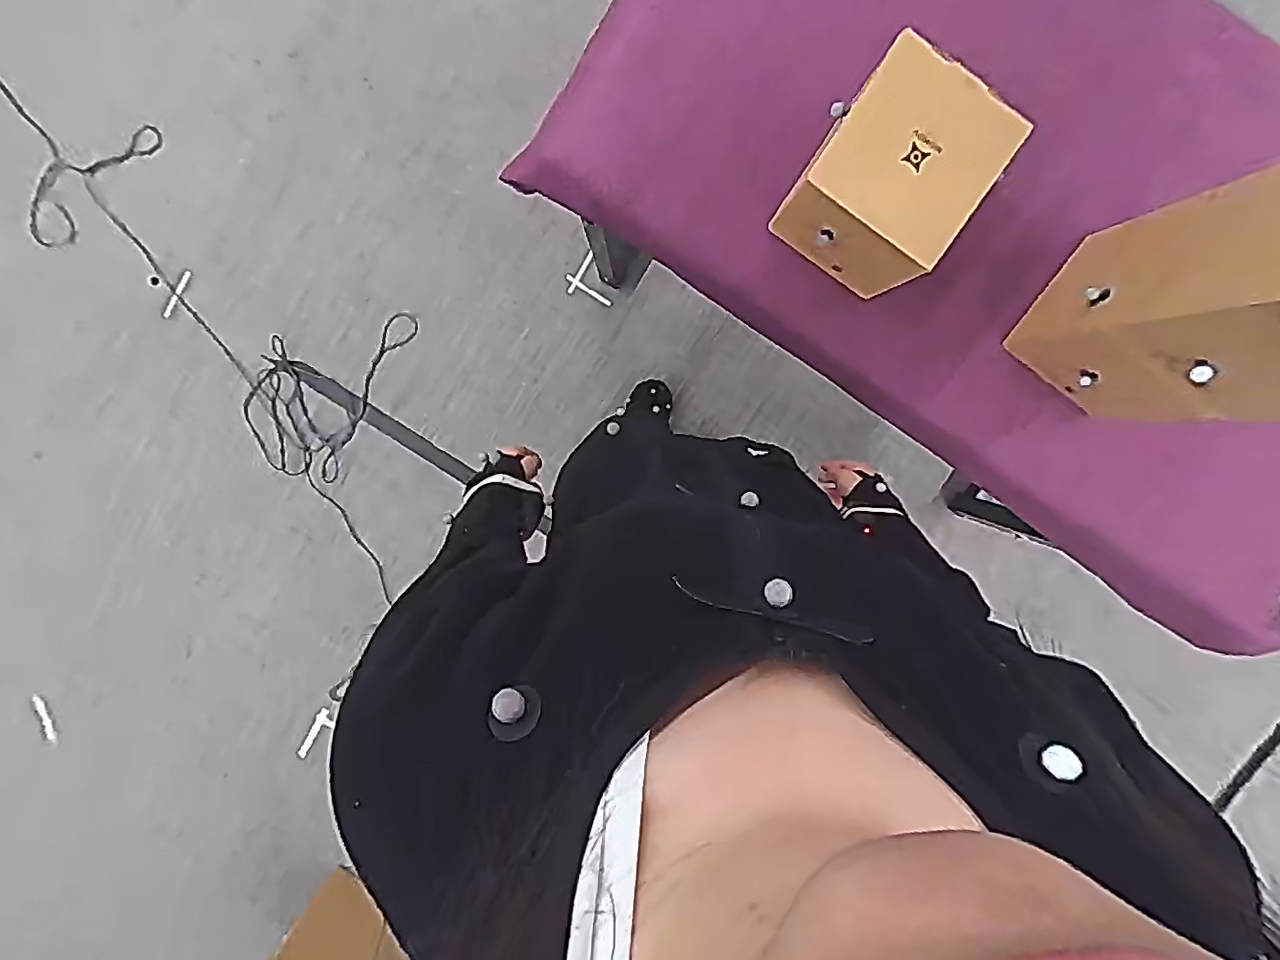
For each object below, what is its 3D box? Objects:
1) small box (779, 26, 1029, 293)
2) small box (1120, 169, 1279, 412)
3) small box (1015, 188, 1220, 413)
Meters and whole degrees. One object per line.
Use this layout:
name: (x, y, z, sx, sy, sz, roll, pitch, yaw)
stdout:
small box: (0.283, -0.347, 0.630, 0.168, 0.176, 0.179, 34, 95, -5)
small box: (0.610, -0.176, 0.490, 0.168, 0.176, 0.179, 35, 97, -5)
small box: (0.605, -0.198, 0.653, 0.168, 0.176, 0.179, 35, 96, -5)
